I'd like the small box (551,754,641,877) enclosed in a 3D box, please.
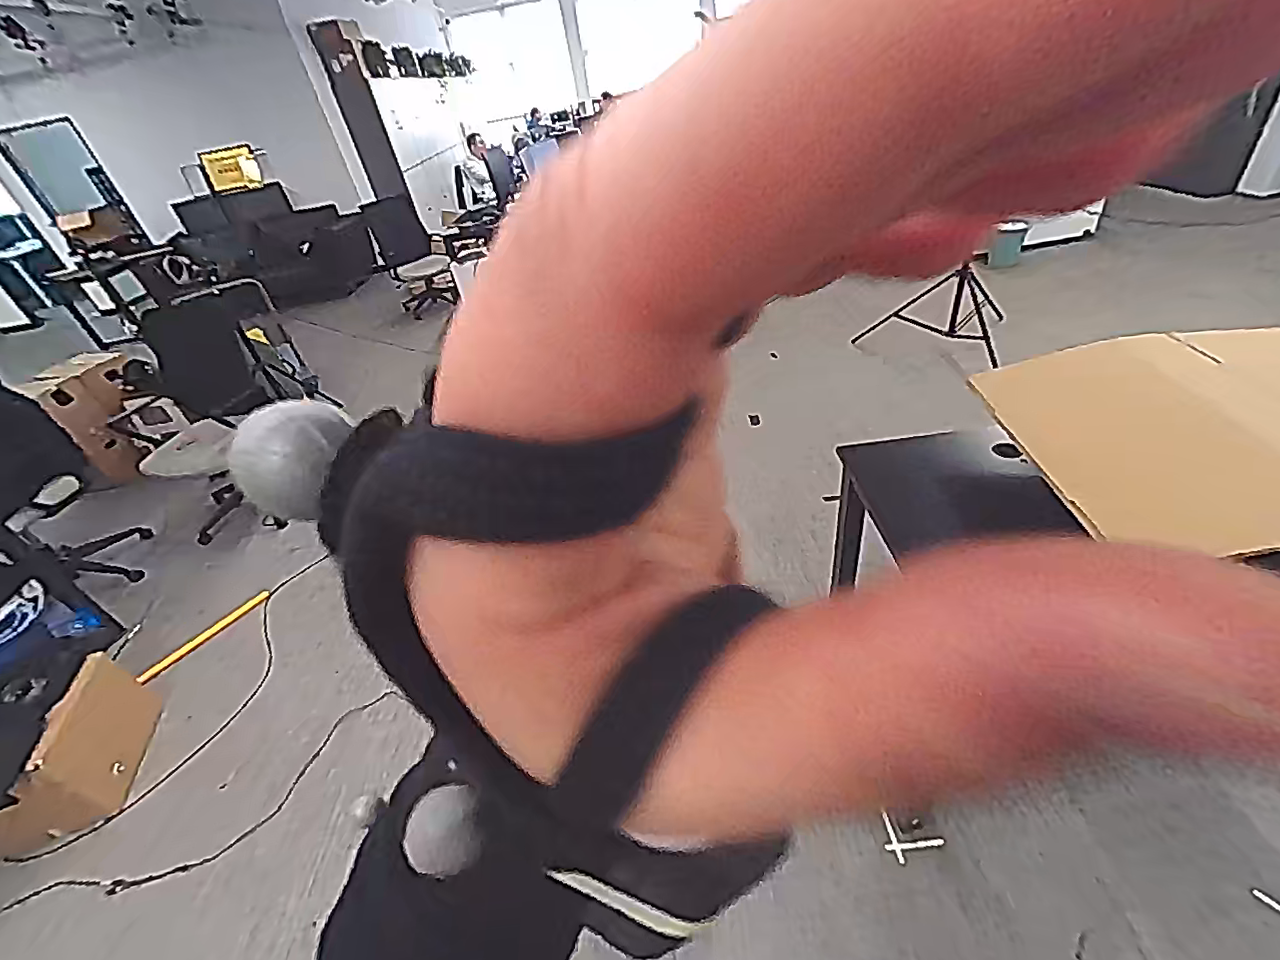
[{"bbox_3d":[-0.099,0.748,1.198,0.168,0.176,0.179,-12,35,-2],"label":"small box"}]

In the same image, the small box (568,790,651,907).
[{"bbox_3d":[-0.072,0.879,1.290,0.168,0.176,0.179,-11,37,1],"label":"small box"}]
